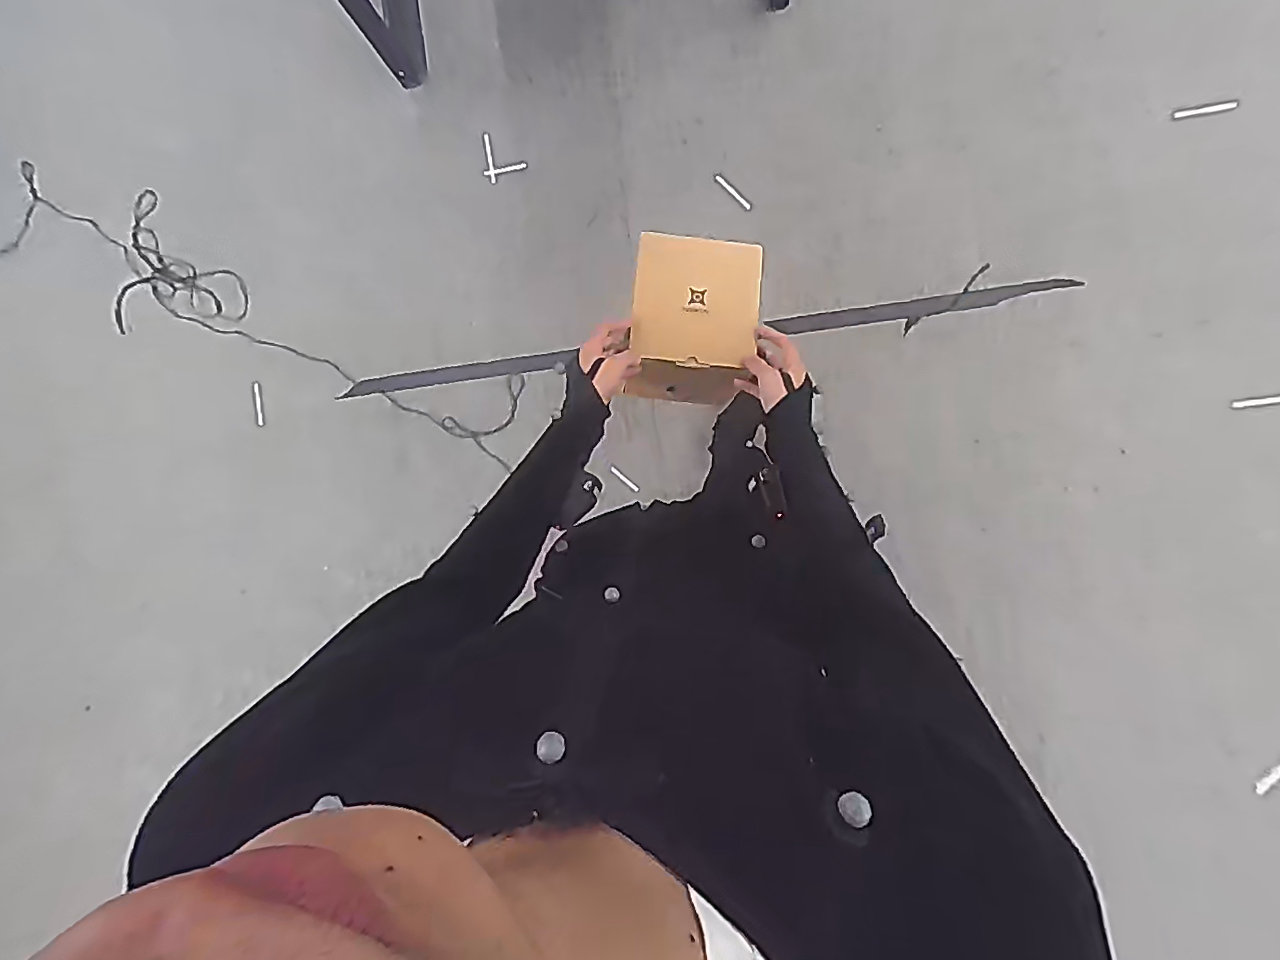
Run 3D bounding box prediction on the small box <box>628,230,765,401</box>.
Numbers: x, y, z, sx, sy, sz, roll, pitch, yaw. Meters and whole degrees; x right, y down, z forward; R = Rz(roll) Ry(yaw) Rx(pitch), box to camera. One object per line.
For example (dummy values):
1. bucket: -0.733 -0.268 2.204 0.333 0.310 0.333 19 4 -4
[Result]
1. small box: 0.072 -0.225 0.776 0.168 0.176 0.179 4 84 -3
